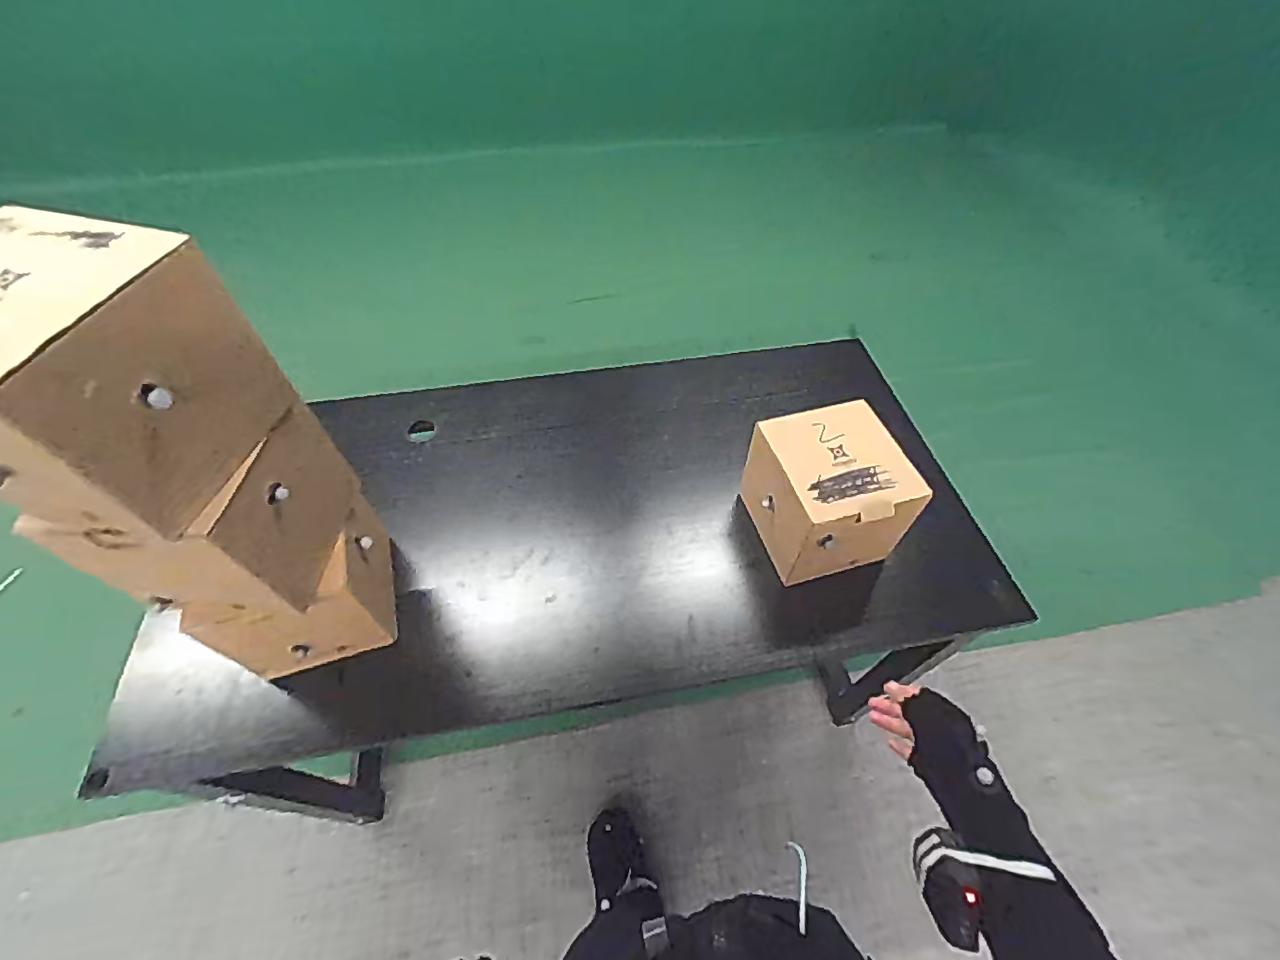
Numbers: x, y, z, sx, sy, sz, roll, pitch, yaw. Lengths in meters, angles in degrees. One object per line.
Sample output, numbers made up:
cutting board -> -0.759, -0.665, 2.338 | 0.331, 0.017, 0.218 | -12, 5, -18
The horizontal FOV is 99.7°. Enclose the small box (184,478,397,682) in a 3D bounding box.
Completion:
small box -> -0.425, 0.129, 0.688 | 0.168, 0.176, 0.179 | -15, 56, -12

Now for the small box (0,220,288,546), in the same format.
small box -> -0.429, -0.070, 0.426 | 0.168, 0.176, 0.179 | 12, 56, 6

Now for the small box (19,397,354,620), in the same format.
small box -> -0.427, 0.032, 0.555 | 0.168, 0.176, 0.179 | 3, 53, 0
